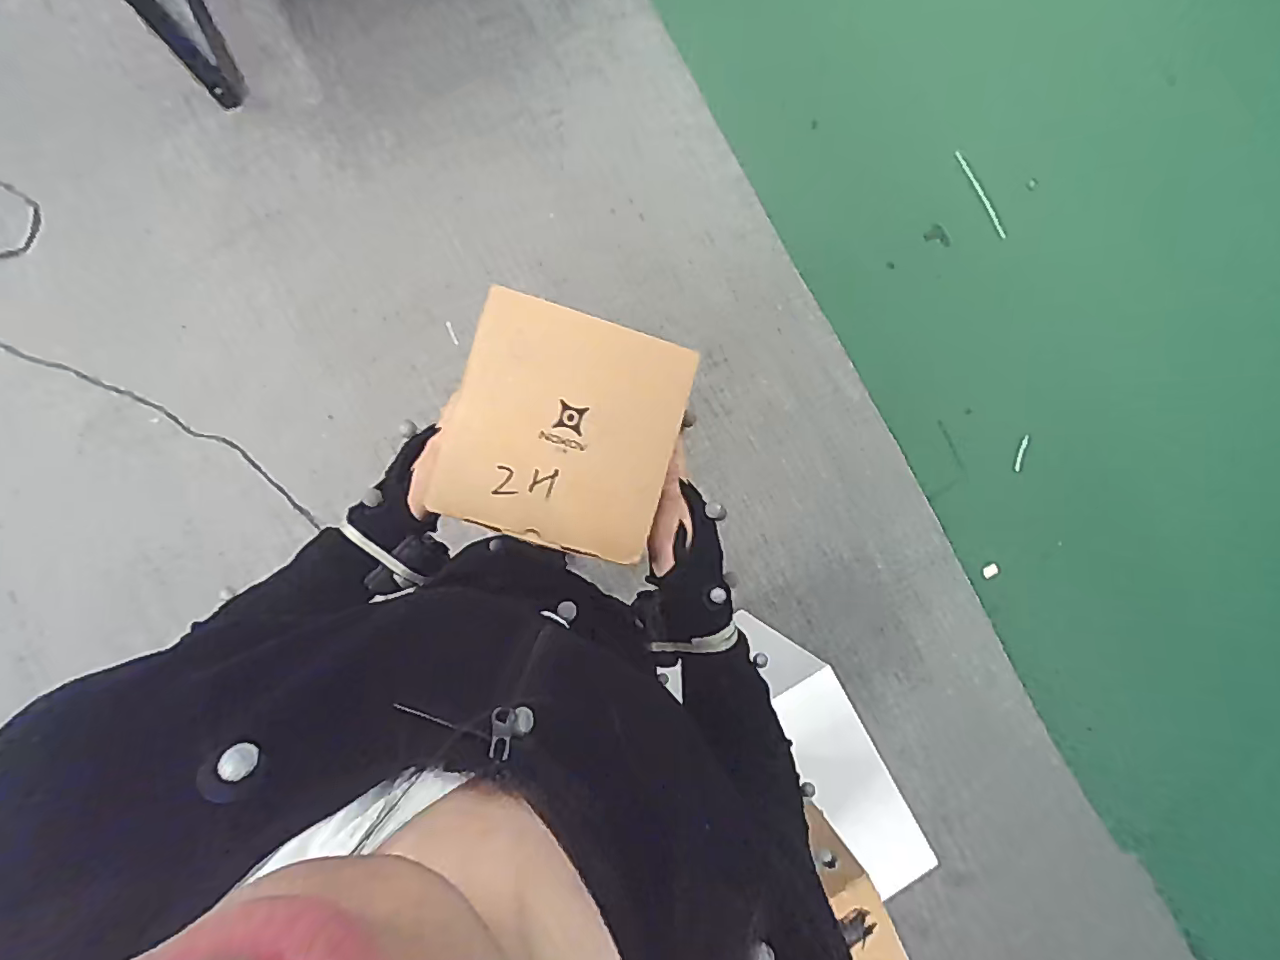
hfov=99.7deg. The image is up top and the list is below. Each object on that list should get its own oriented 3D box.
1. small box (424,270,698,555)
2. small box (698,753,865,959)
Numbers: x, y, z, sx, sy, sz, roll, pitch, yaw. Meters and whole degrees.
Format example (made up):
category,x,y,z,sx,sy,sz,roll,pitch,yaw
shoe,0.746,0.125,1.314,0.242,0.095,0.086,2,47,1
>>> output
category,x,y,z,sx,sy,sz,roll,pitch,yaw
small box,-0.064,-0.047,0.475,0.168,0.176,0.179,16,87,-6
small box,0.205,0.565,0.832,0.168,0.176,0.179,-22,89,-6
